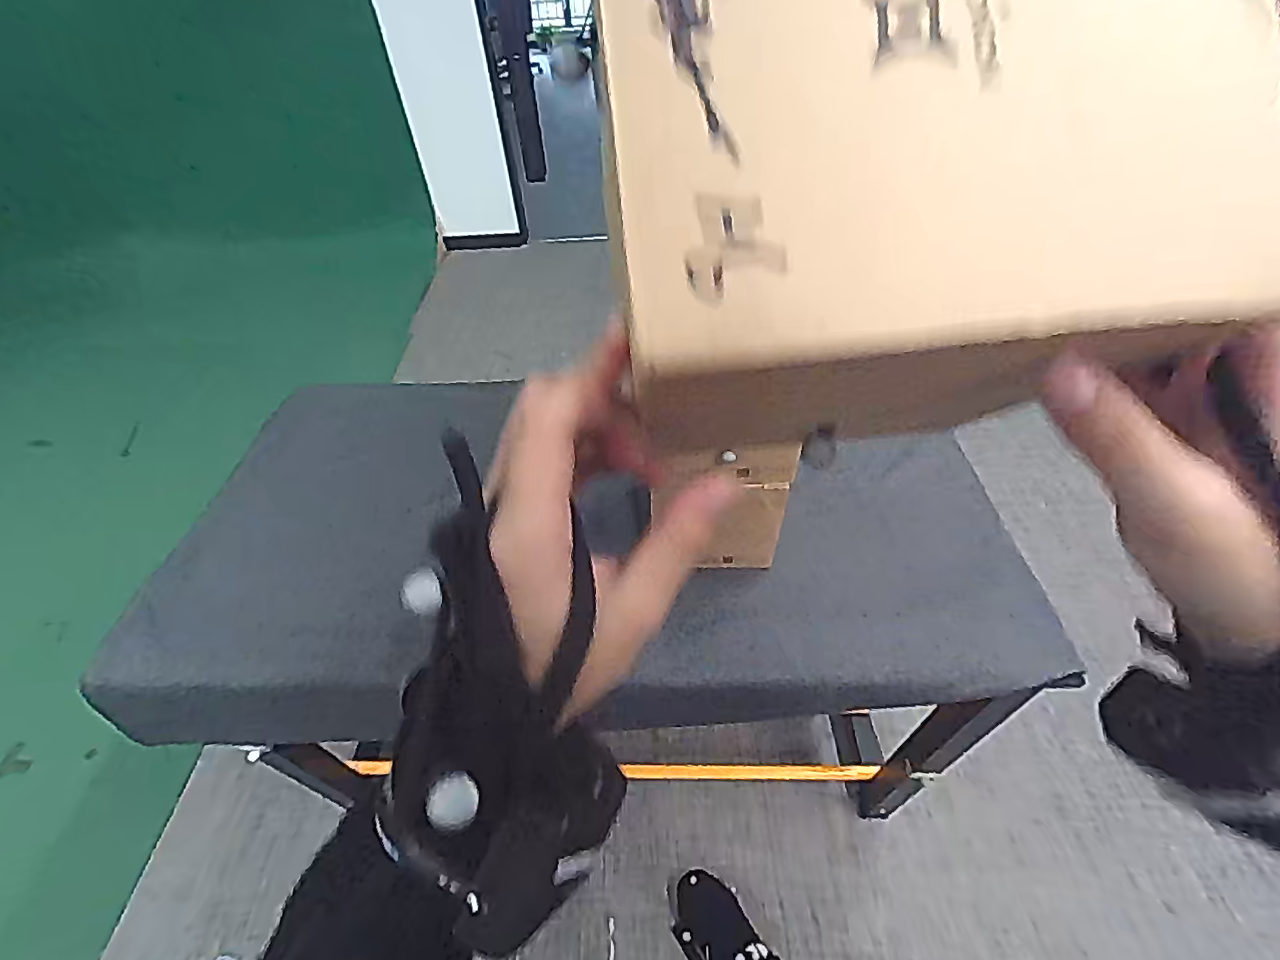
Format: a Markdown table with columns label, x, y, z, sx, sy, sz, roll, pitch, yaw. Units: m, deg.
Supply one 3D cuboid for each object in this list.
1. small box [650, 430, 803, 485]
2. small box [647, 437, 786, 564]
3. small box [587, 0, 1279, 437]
| label | x | y | z | sx | sy | sz | roll | pitch | yaw |
| --- | --- | --- | --- | --- | --- | --- | --- | --- | --- |
| small box | 0.092 | -0.113 | 0.631 | 0.168 | 0.176 | 0.179 | -3 | 47 | 1 |
| small box | 0.097 | 0.003 | 0.748 | 0.168 | 0.176 | 0.179 | 0 | 46 | 2 |
| small box | 0.072 | -0.117 | 0.218 | 0.179 | 0.176 | 0.168 | -5 | 83 | -2 |
